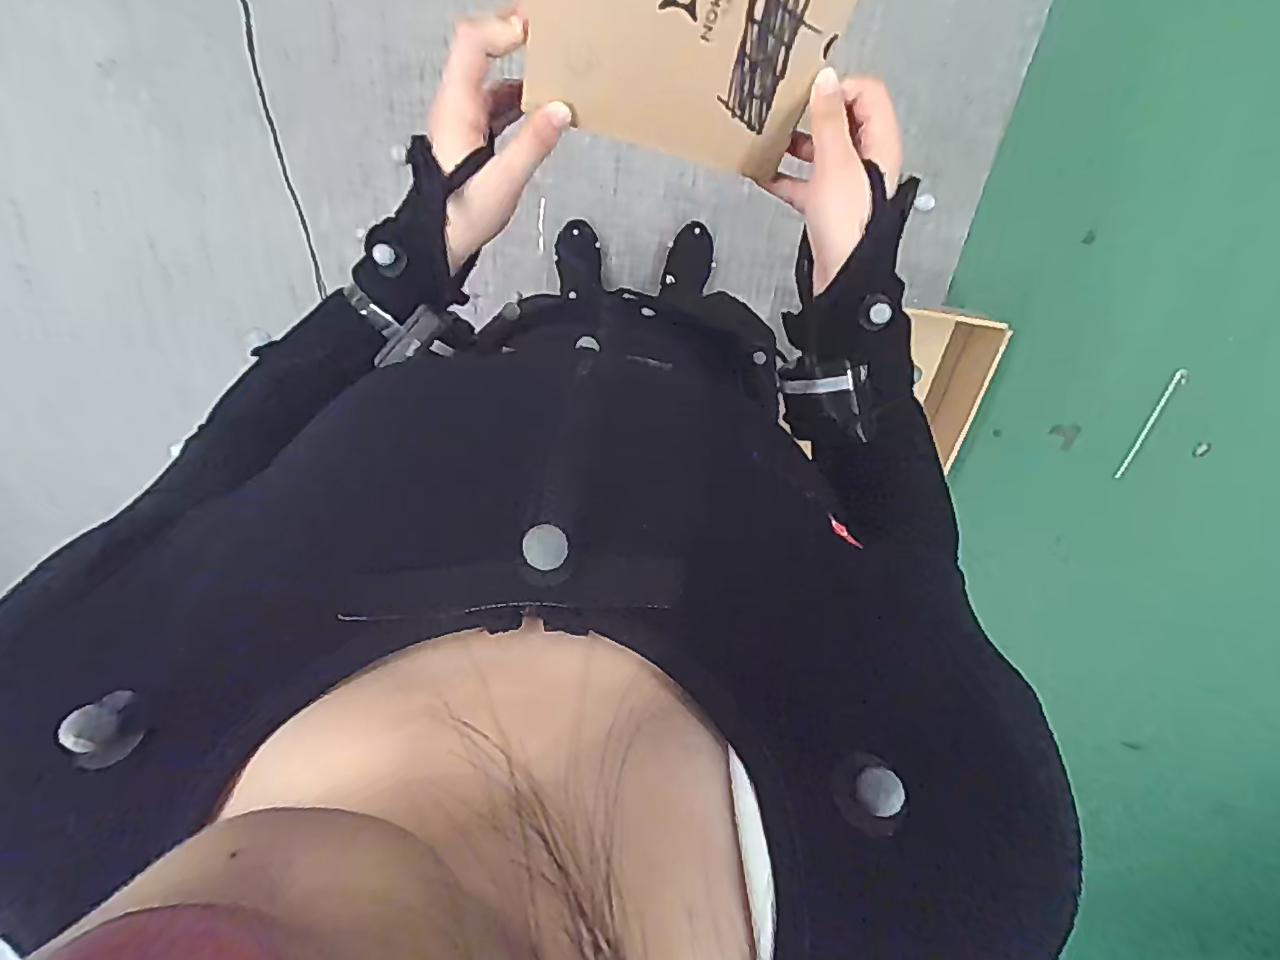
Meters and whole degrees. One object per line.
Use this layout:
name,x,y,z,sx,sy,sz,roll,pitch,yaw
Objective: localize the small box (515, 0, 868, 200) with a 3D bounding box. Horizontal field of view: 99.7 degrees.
small box,0.027,-0.315,0.332,0.179,0.176,0.168,9,148,-14
